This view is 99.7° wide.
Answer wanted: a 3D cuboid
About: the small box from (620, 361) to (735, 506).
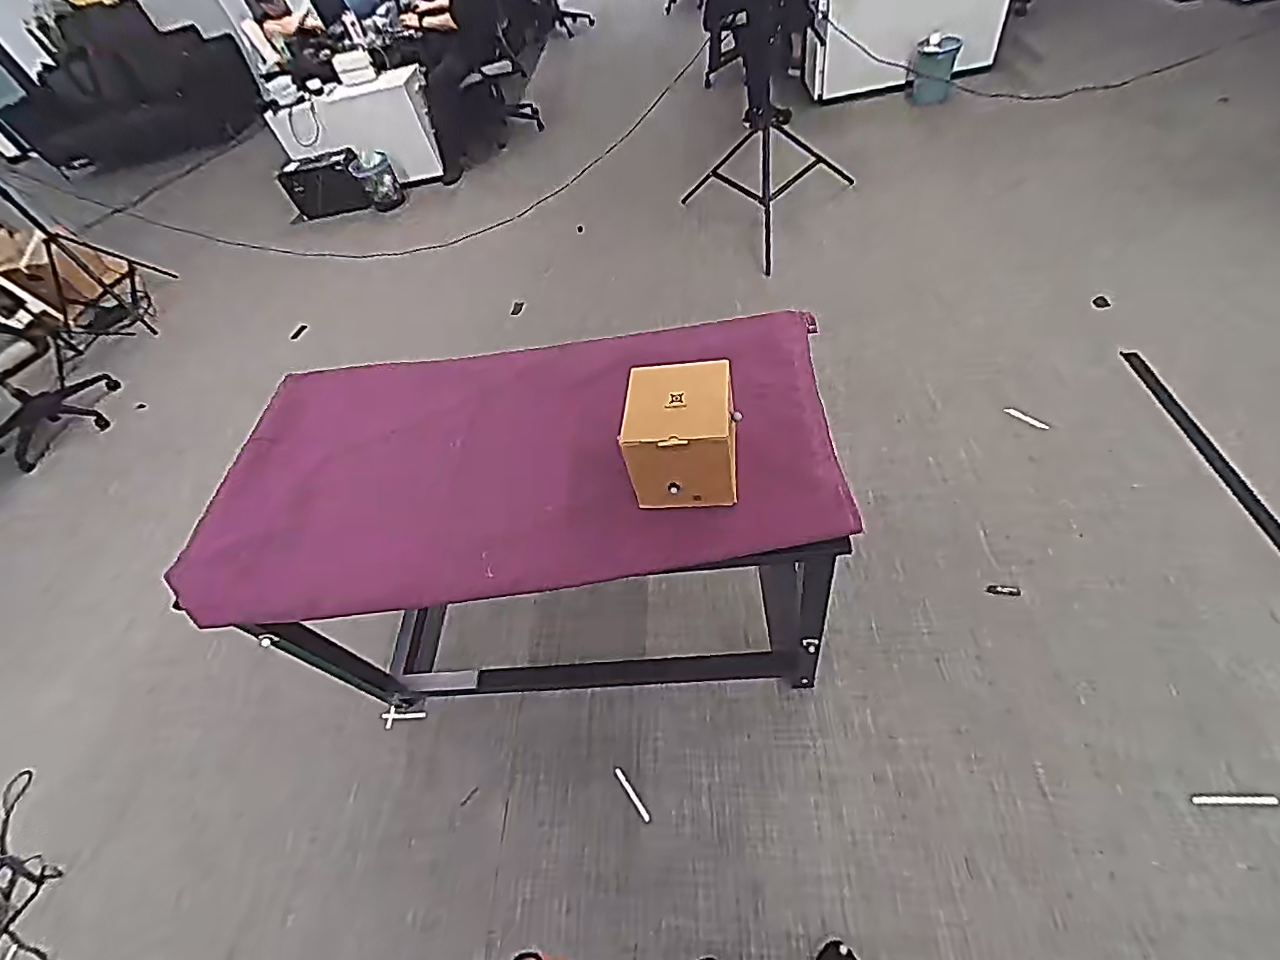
[{"bbox_3d":[0.071,-0.075,0.909,0.168,0.176,0.179,-3,51,12],"label":"small box"}]
